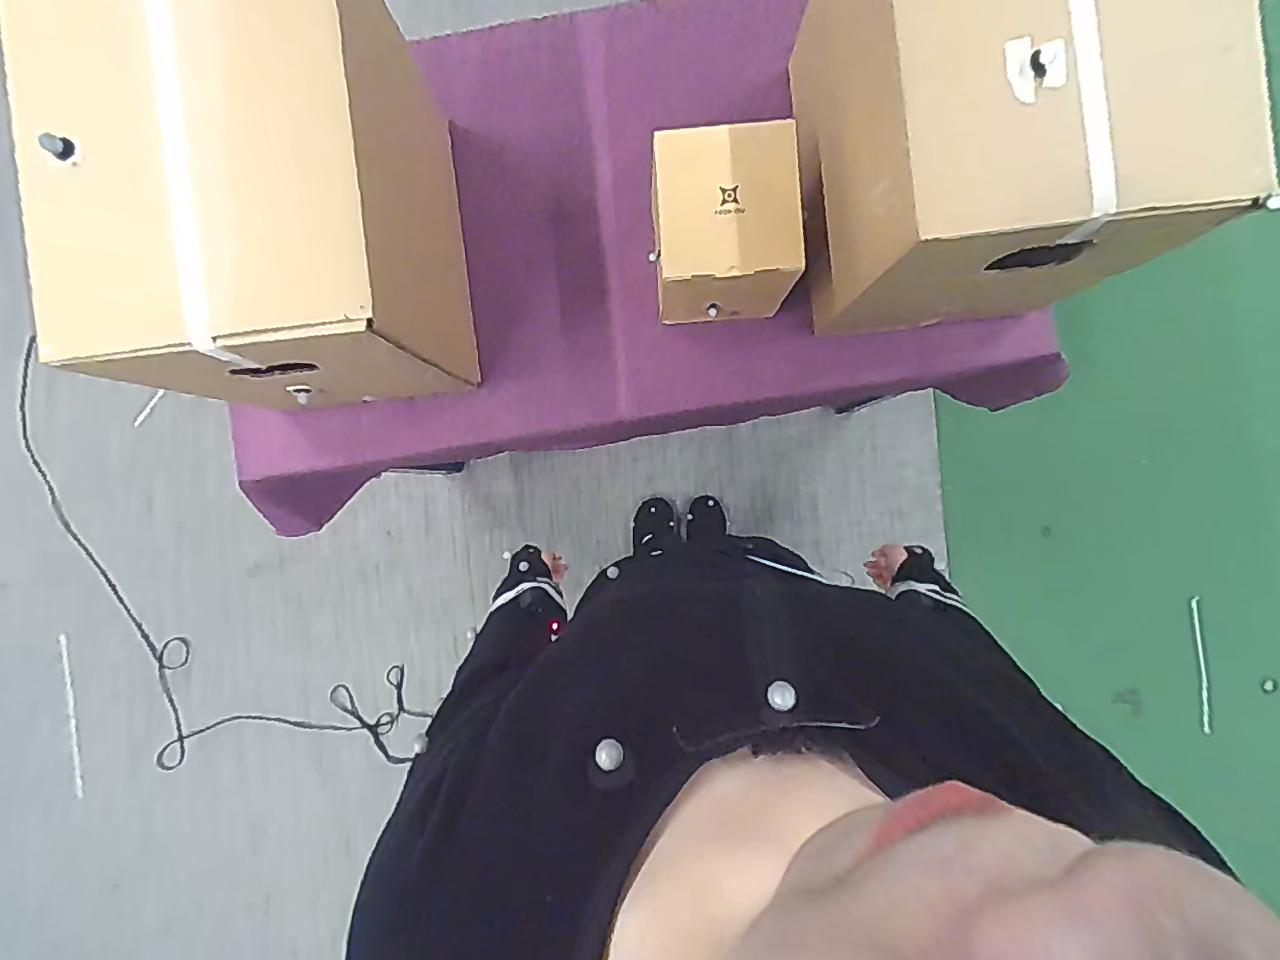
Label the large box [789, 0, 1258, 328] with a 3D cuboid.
[{"bbox_3d":[0.386,-0.429,0.636,0.320,0.320,0.408,-6,90,1],"label":"large box"}]
